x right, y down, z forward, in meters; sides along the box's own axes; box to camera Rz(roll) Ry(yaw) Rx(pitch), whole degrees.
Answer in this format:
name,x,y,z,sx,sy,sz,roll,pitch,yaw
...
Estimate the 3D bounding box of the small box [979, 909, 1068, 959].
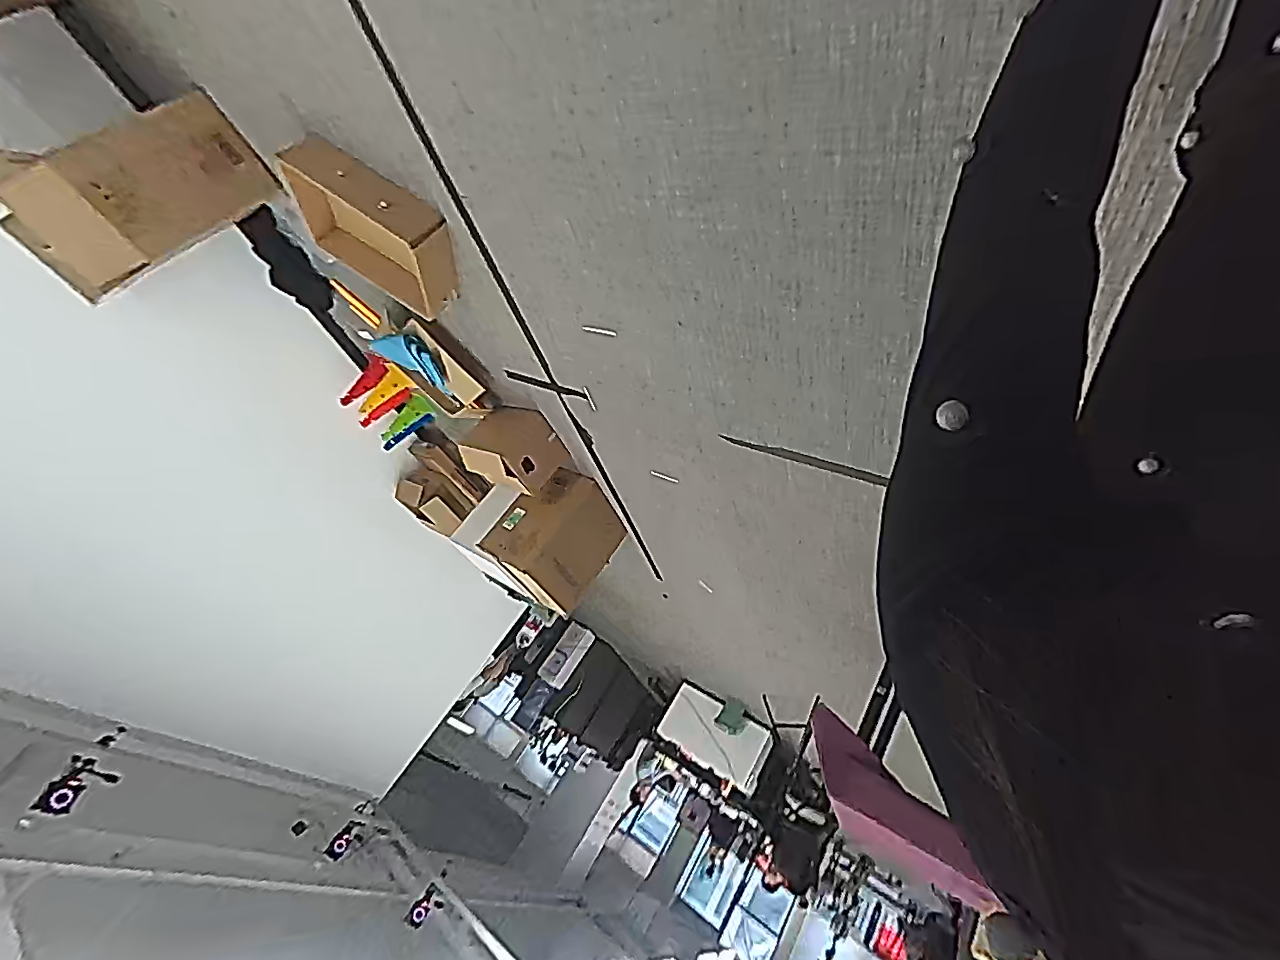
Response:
name,x,y,z,sx,sy,sz,roll,pitch,yaw
small box,1.250,1.545,1.766,0.179,0.176,0.168,23,153,29
